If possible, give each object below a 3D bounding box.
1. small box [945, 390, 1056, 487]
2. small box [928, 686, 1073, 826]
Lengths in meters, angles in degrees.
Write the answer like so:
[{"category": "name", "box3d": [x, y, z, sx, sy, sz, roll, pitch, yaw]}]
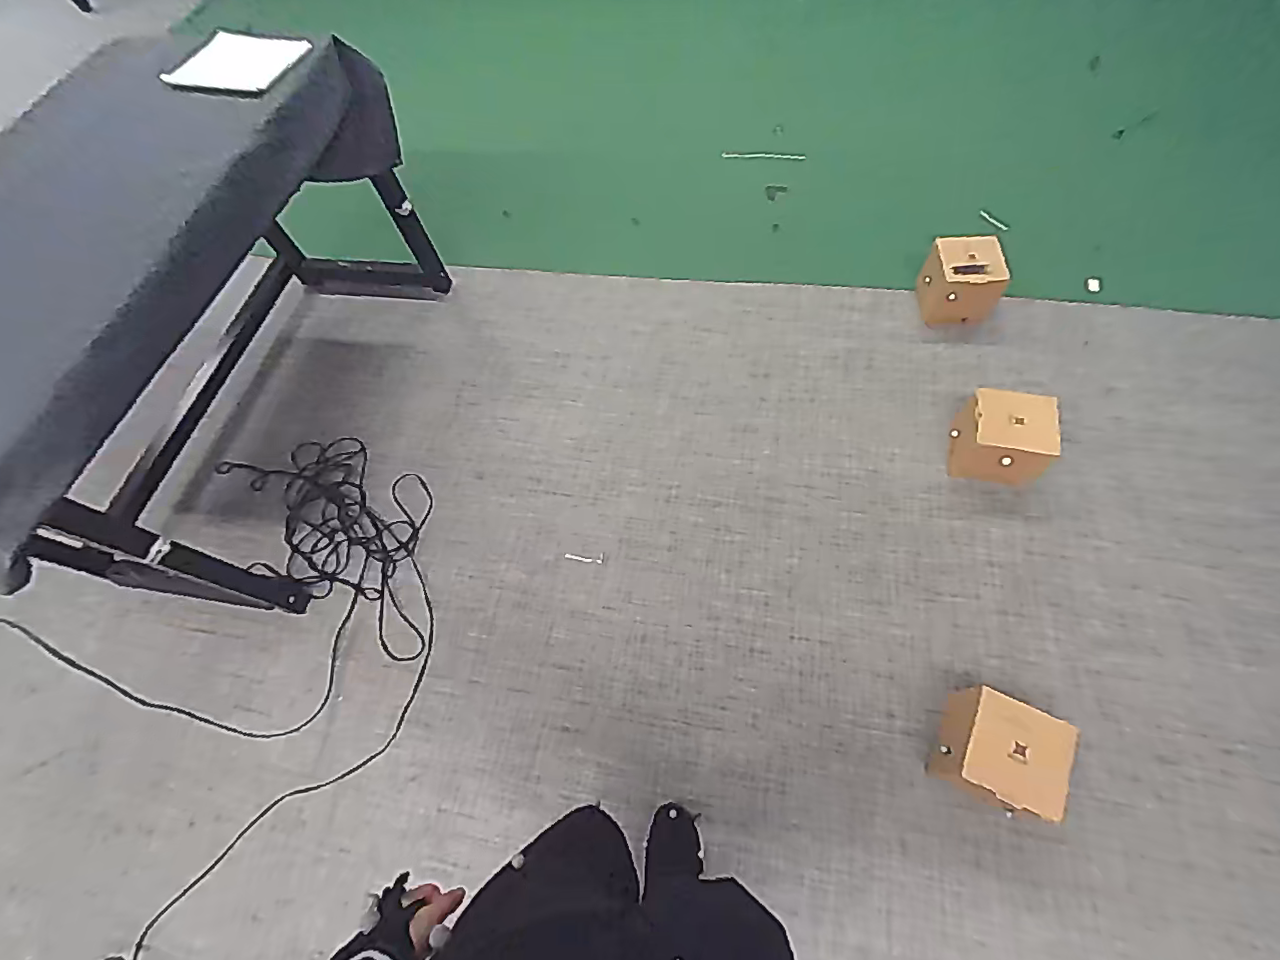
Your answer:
[{"category": "small box", "box3d": [0.885, -0.097, 1.341, 0.179, 0.176, 0.168, 10, 64, 12]}, {"category": "small box", "box3d": [0.683, 0.527, 1.042, 0.168, 0.176, 0.179, 23, 67, 16]}]
